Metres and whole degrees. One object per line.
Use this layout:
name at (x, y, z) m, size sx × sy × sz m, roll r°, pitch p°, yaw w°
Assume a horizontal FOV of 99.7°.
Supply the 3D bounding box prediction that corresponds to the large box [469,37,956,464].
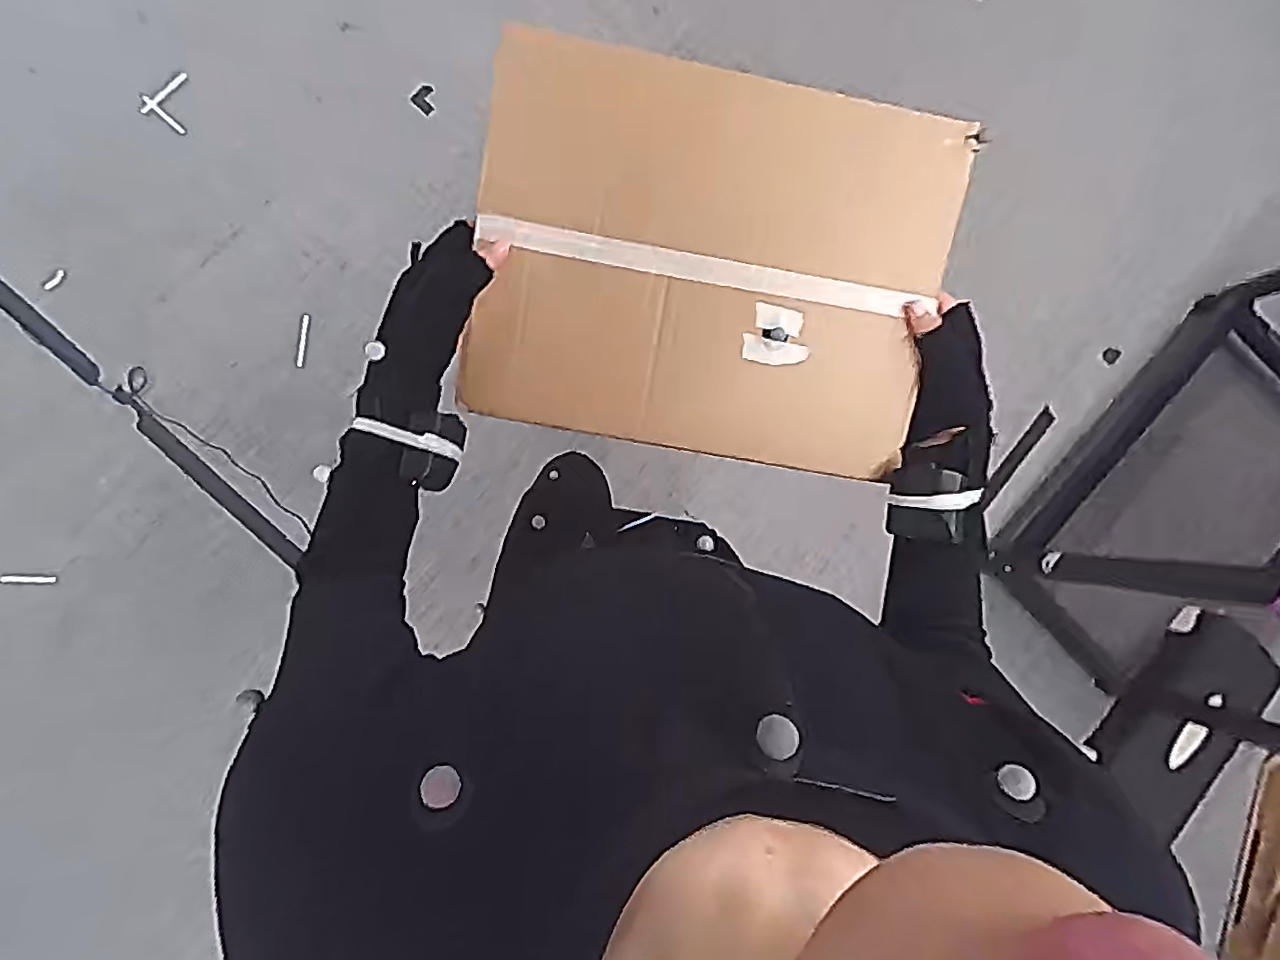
large box at (0.053, -0.215, 0.629) m, size 0.408 × 0.320 × 0.320 m, roll 9°, pitch 99°, yaw -4°
